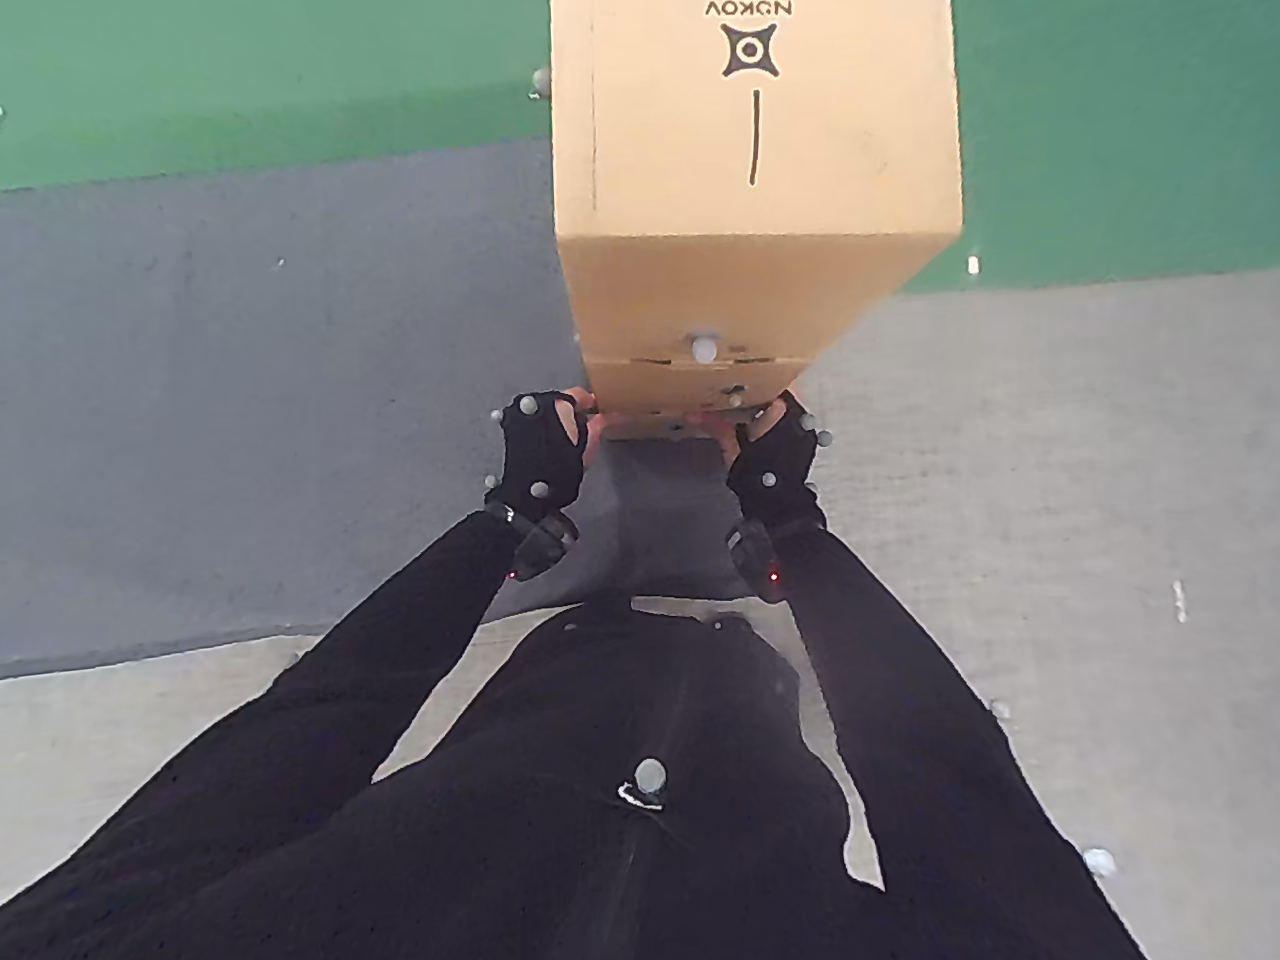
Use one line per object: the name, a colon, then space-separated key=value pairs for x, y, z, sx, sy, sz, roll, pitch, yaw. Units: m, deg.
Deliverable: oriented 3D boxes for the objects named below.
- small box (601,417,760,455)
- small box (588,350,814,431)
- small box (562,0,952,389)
small box: x=0.040 y=-0.124 z=0.637 sx=0.168 sy=0.176 sz=0.179 roll=-3 pitch=85 yaw=-1
small box: x=0.042 y=-0.141 z=0.476 sx=0.168 sy=0.176 sz=0.179 roll=-2 pitch=83 yaw=-2
small box: x=0.045 y=-0.160 z=0.312 sx=0.168 sy=0.176 sz=0.179 roll=-2 pitch=85 yaw=-1
